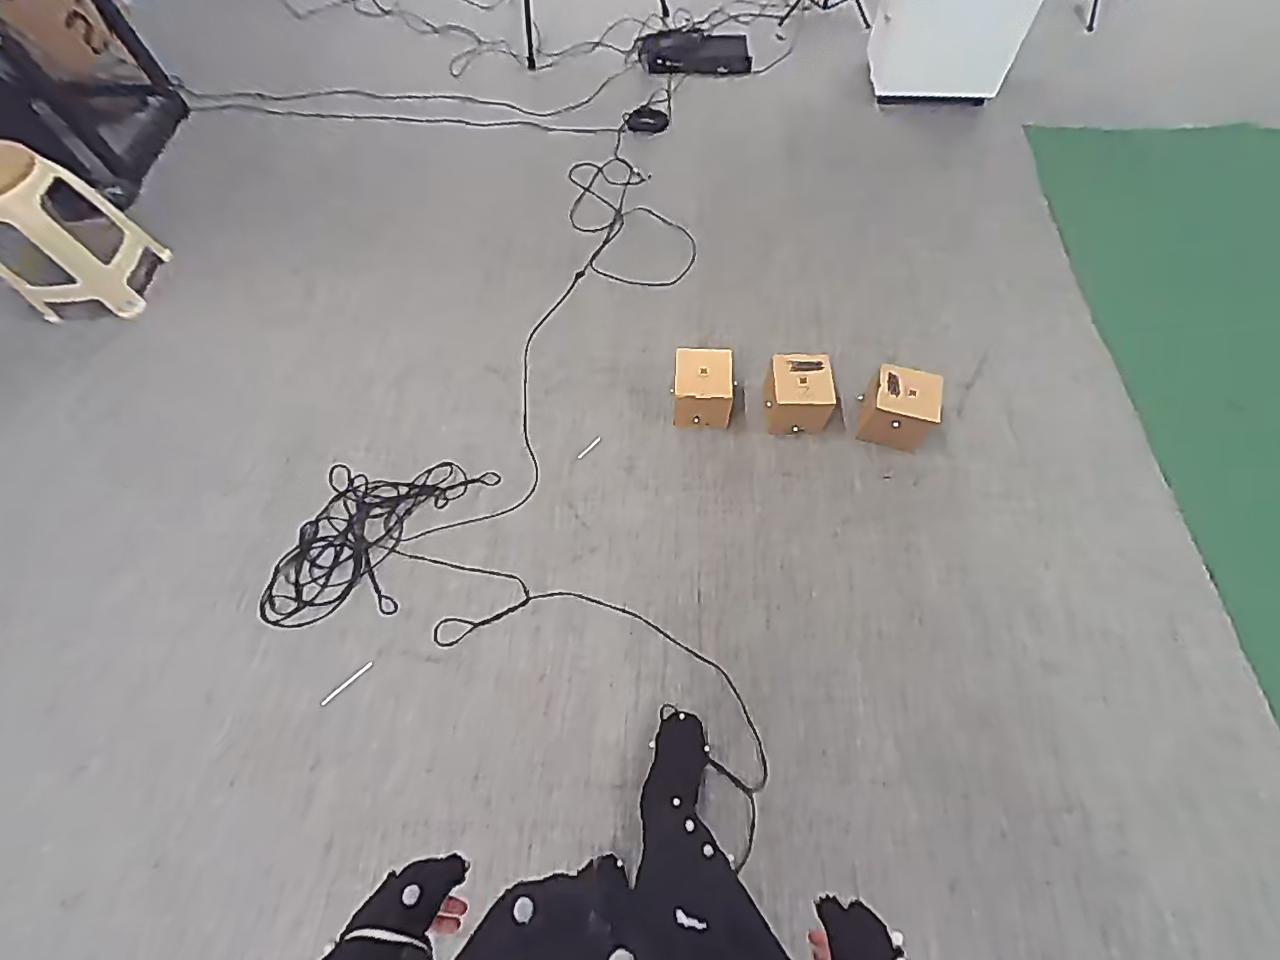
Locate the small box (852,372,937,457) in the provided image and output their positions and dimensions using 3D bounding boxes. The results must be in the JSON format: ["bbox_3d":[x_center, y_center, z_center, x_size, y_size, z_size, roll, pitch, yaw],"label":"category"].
[{"bbox_3d":[0.745,-0.187,1.592,0.179,0.176,0.168,16,64,8],"label":"small box"}]

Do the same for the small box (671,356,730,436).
[{"bbox_3d":[0.180,-0.254,1.644,0.168,0.176,0.179,2,63,3],"label":"small box"}]
